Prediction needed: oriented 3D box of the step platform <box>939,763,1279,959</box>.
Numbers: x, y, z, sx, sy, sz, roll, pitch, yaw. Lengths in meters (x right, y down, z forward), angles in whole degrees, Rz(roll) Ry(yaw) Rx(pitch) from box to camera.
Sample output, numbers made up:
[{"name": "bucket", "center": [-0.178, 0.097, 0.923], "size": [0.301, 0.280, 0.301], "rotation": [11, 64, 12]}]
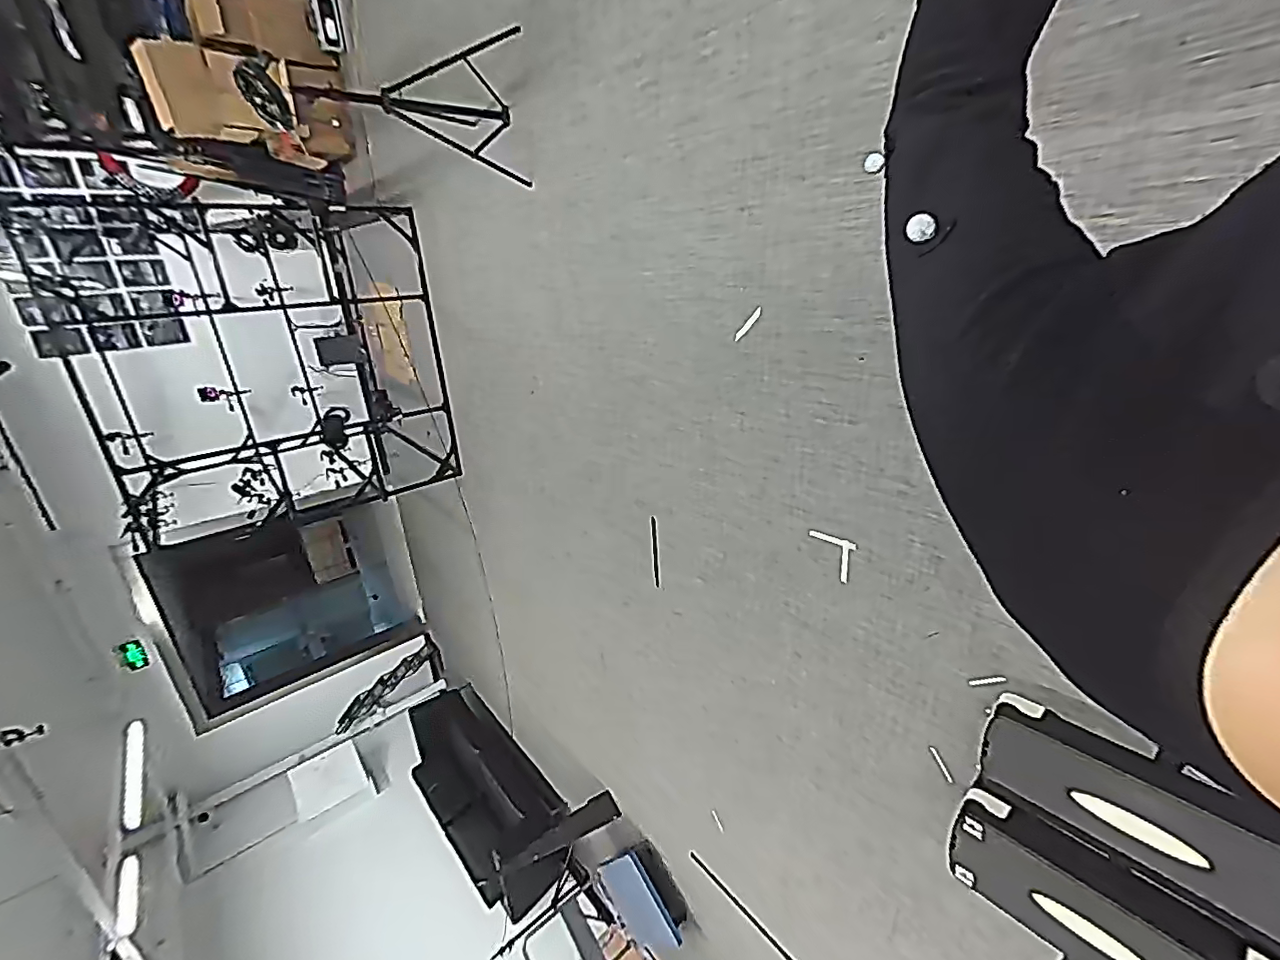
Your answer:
[{"name": "step platform", "center": [1.171, 1.084, 1.418], "size": [0.684, 0.204, 0.286], "rotation": [20, 121, 48]}]
